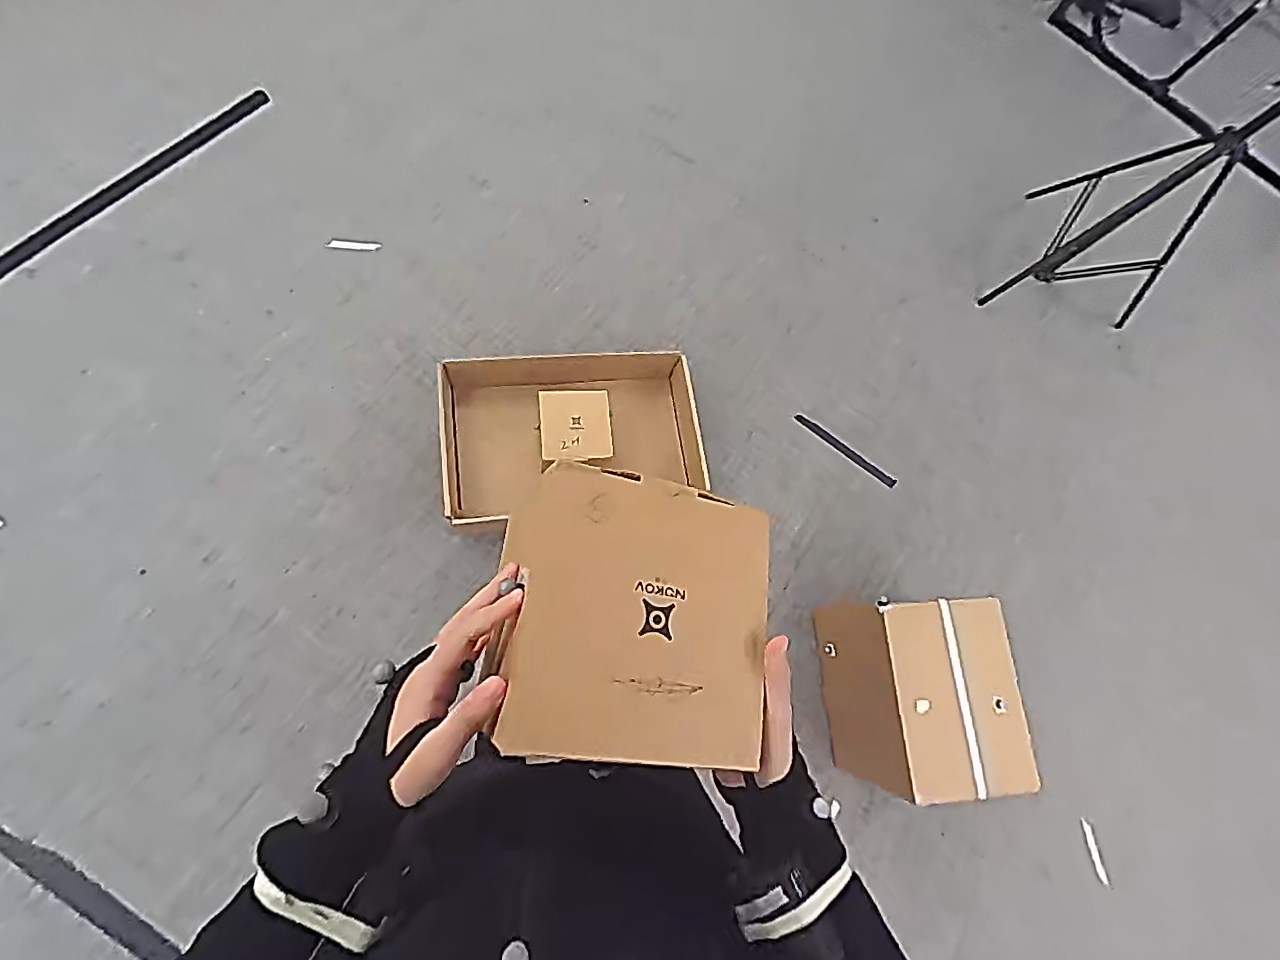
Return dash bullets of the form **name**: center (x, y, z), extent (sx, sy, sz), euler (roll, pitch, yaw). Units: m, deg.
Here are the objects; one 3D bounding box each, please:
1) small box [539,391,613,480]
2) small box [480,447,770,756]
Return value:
- **small box**: center (-0.166, -0.107, 1.347), extent (0.168, 0.176, 0.179), euler (-3, 75, -11)
- **small box**: center (-0.019, 0.099, 0.421), extent (0.168, 0.176, 0.179), euler (15, 69, -19)
